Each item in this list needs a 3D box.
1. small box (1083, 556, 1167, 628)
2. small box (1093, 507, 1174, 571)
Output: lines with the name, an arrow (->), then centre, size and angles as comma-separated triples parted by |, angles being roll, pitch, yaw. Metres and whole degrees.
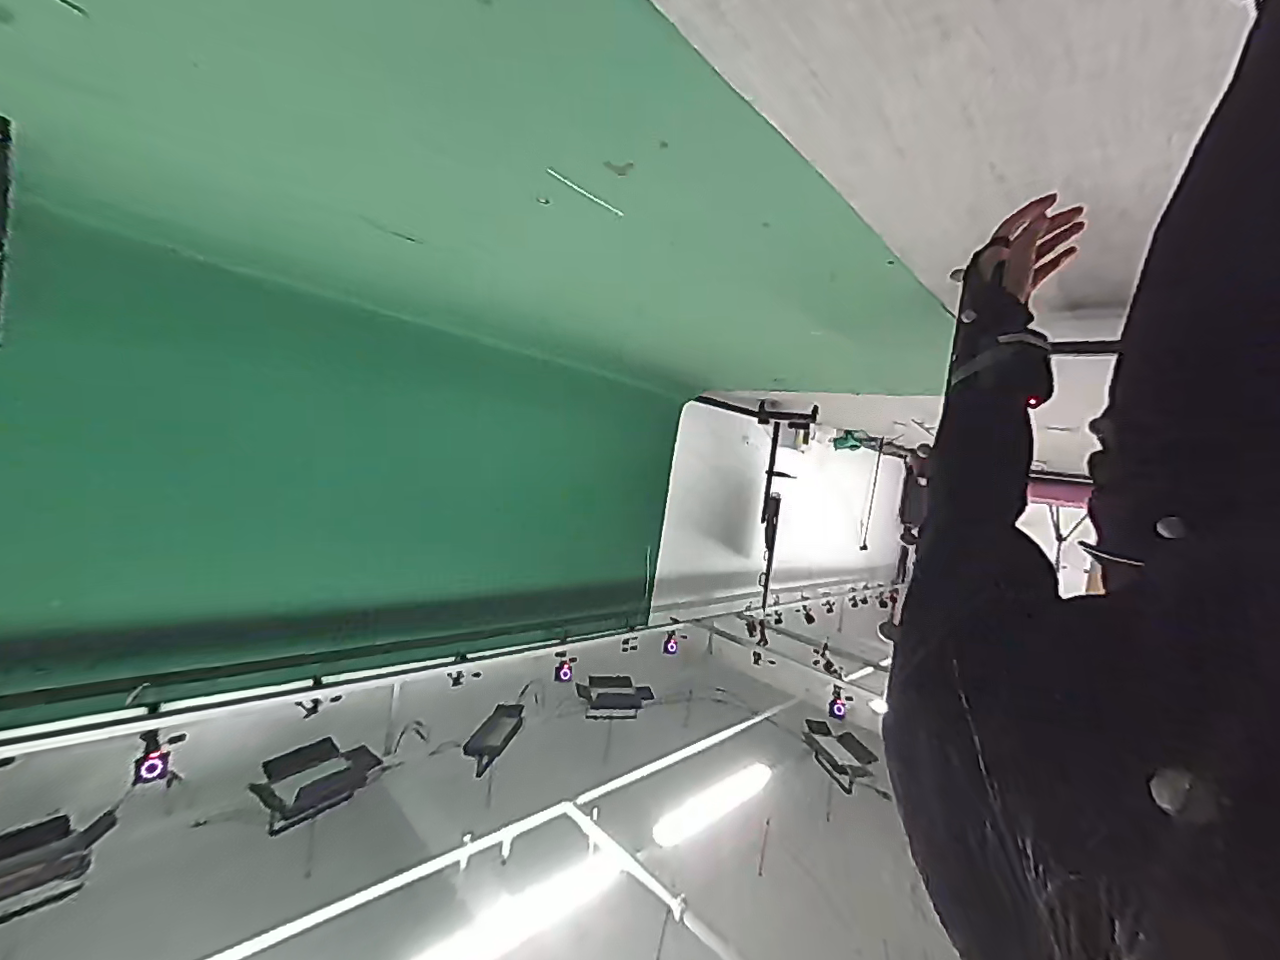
small box -> 1.496, 0.338, 1.671 | 0.179, 0.176, 0.168 | 11, -176, 42
small box -> 1.519, 0.175, 1.665 | 0.179, 0.176, 0.168 | 4, -176, -45
